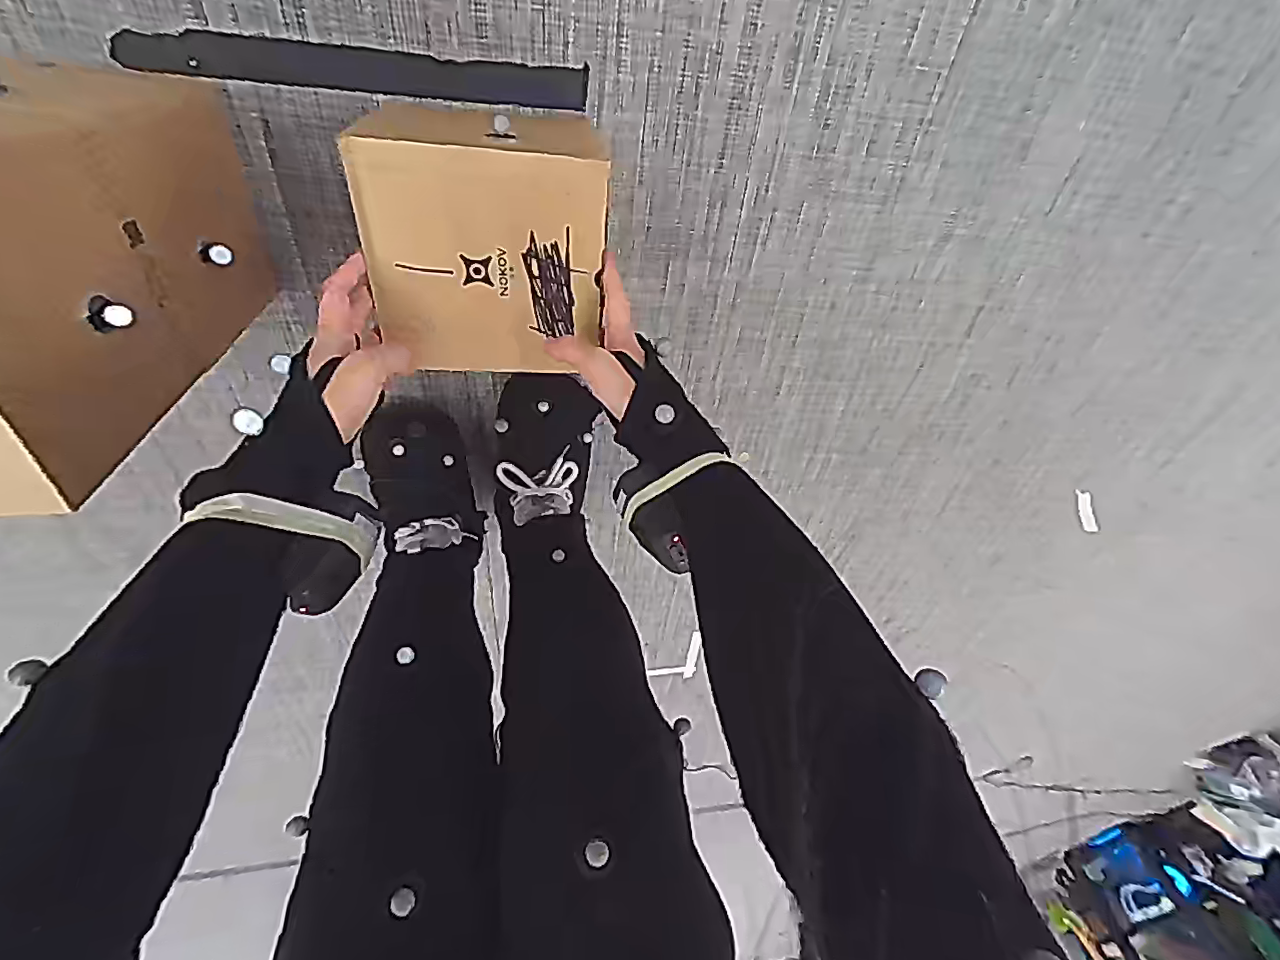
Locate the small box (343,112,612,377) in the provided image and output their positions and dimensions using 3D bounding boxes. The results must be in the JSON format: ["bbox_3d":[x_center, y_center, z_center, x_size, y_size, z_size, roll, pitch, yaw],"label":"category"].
[{"bbox_3d":[-0.125,-0.204,0.467,0.179,0.176,0.168,-1,130,-10],"label":"small box"}]
